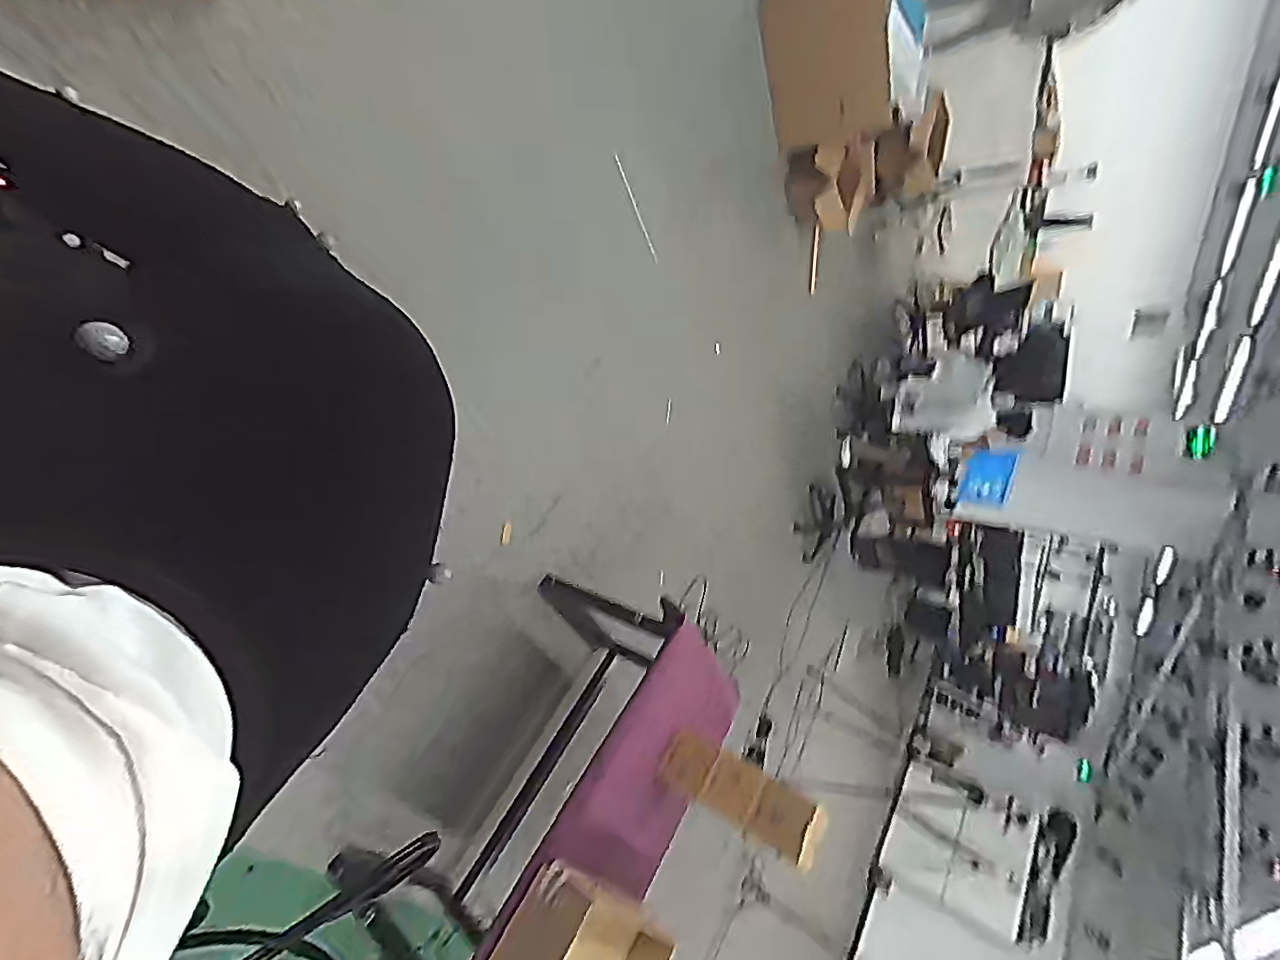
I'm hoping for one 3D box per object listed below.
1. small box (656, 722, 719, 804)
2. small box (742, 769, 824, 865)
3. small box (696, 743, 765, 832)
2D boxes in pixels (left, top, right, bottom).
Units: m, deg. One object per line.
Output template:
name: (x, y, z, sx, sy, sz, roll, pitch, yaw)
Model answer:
small box: (0.178, 0.947, 1.823, 0.168, 0.176, 0.179, -53, 135, -26)
small box: (0.426, 1.001, 1.618, 0.168, 0.176, 0.179, -54, 135, -26)
small box: (0.300, 0.970, 1.719, 0.168, 0.176, 0.179, -54, 135, -26)
